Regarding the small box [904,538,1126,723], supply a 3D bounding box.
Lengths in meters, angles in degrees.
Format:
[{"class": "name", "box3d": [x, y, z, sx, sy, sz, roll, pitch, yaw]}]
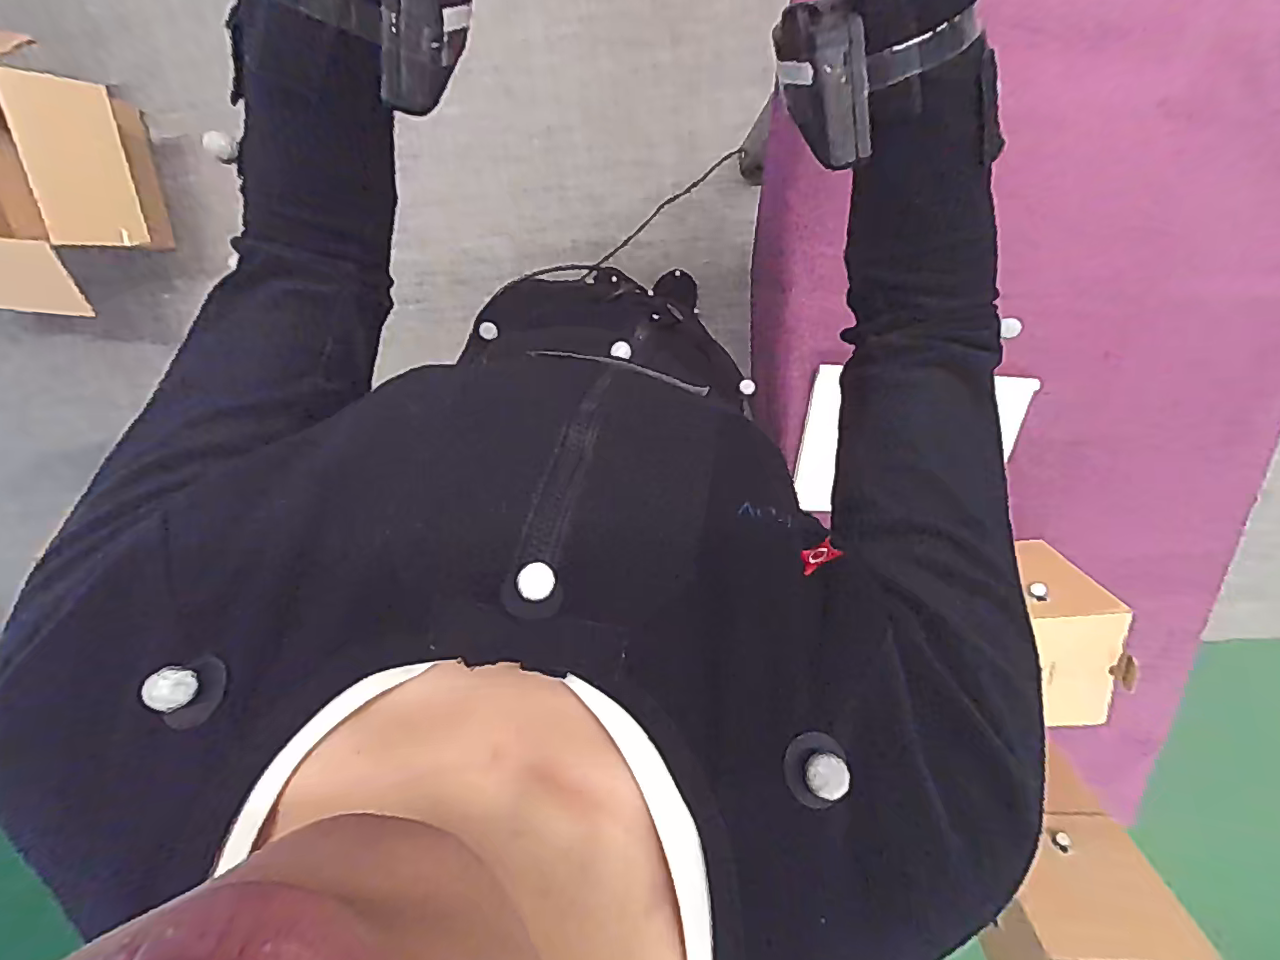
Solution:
[{"class": "small box", "box3d": [0.470, 0.190, 0.712, 0.179, 0.176, 0.168, -6, 112, 5]}]

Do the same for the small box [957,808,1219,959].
[{"class": "small box", "box3d": [0.528, 0.539, 0.674, 0.179, 0.176, 0.168, -3, 113, 5]}]
